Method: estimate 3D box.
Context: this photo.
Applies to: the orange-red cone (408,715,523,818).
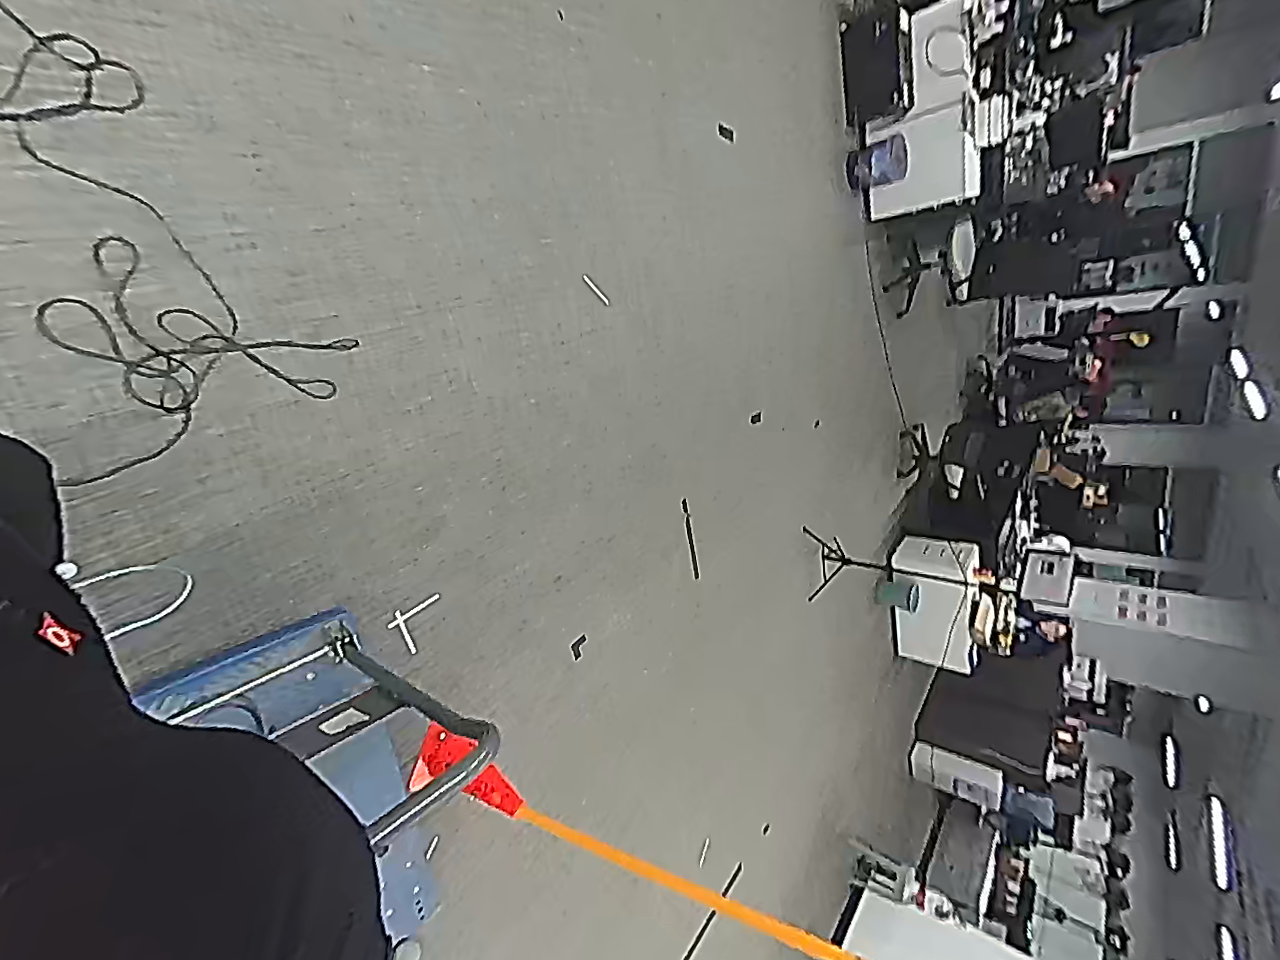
[{"bbox_3d":[-0.434,0.810,1.462,0.198,0.360,0.199,33,72,-45],"label":"orange-red cone"}]
